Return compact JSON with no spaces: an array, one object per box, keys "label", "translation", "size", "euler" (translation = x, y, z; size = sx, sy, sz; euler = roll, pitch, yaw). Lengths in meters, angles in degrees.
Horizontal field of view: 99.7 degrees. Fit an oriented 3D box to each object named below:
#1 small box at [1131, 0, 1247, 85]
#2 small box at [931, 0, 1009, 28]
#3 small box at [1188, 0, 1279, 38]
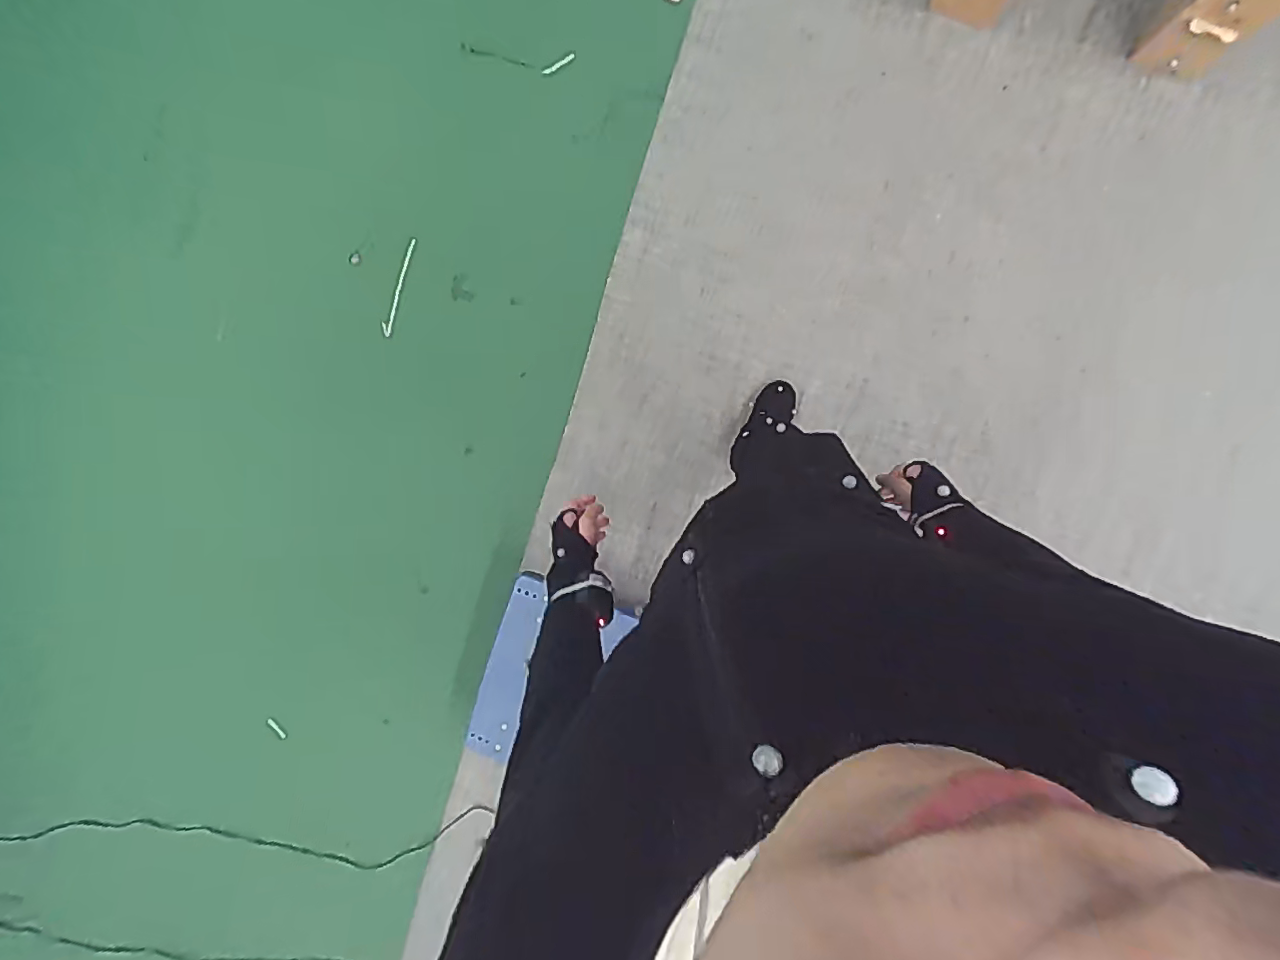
[{"label":"small box","translation":[1.335,-1.098,1.280],"size":[0.168,0.176,0.179],"euler":[31,100,7]},{"label":"small box","translation":[0.862,-1.281,1.342],"size":[0.179,0.176,0.168],"euler":[25,99,6]},{"label":"small box","translation":[1.319,-1.085,1.121],"size":[0.168,0.176,0.179],"euler":[26,99,5]}]
